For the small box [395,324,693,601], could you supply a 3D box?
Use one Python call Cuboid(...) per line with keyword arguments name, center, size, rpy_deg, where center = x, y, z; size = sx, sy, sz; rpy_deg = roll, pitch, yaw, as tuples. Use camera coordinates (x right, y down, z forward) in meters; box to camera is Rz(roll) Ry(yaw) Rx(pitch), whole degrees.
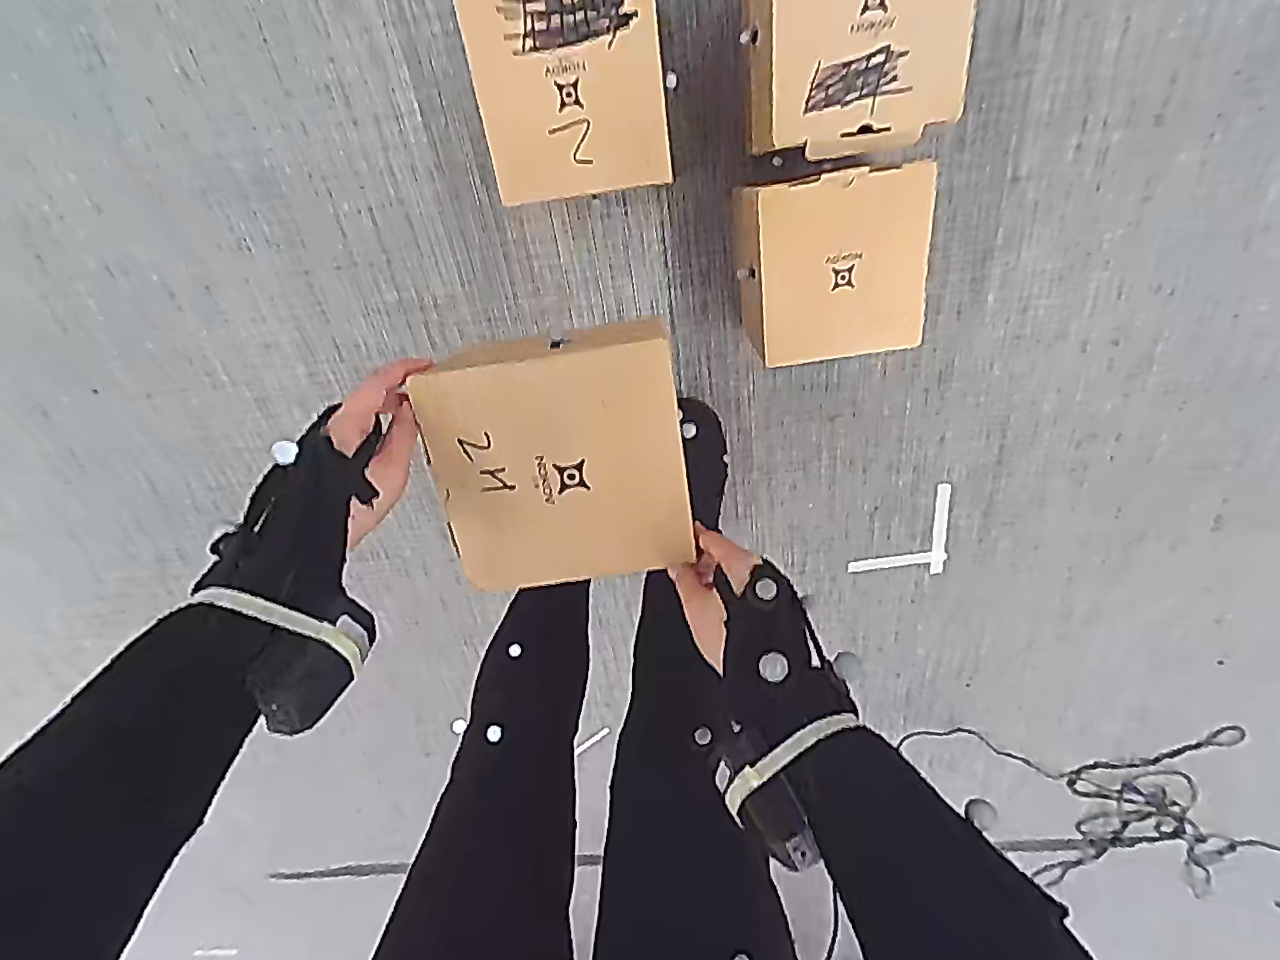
Cuboid(name="small box", center=(-0.060, -0.027, 0.439), size=(0.179, 0.176, 0.168), rpy_deg=(-8, 110, 2))
